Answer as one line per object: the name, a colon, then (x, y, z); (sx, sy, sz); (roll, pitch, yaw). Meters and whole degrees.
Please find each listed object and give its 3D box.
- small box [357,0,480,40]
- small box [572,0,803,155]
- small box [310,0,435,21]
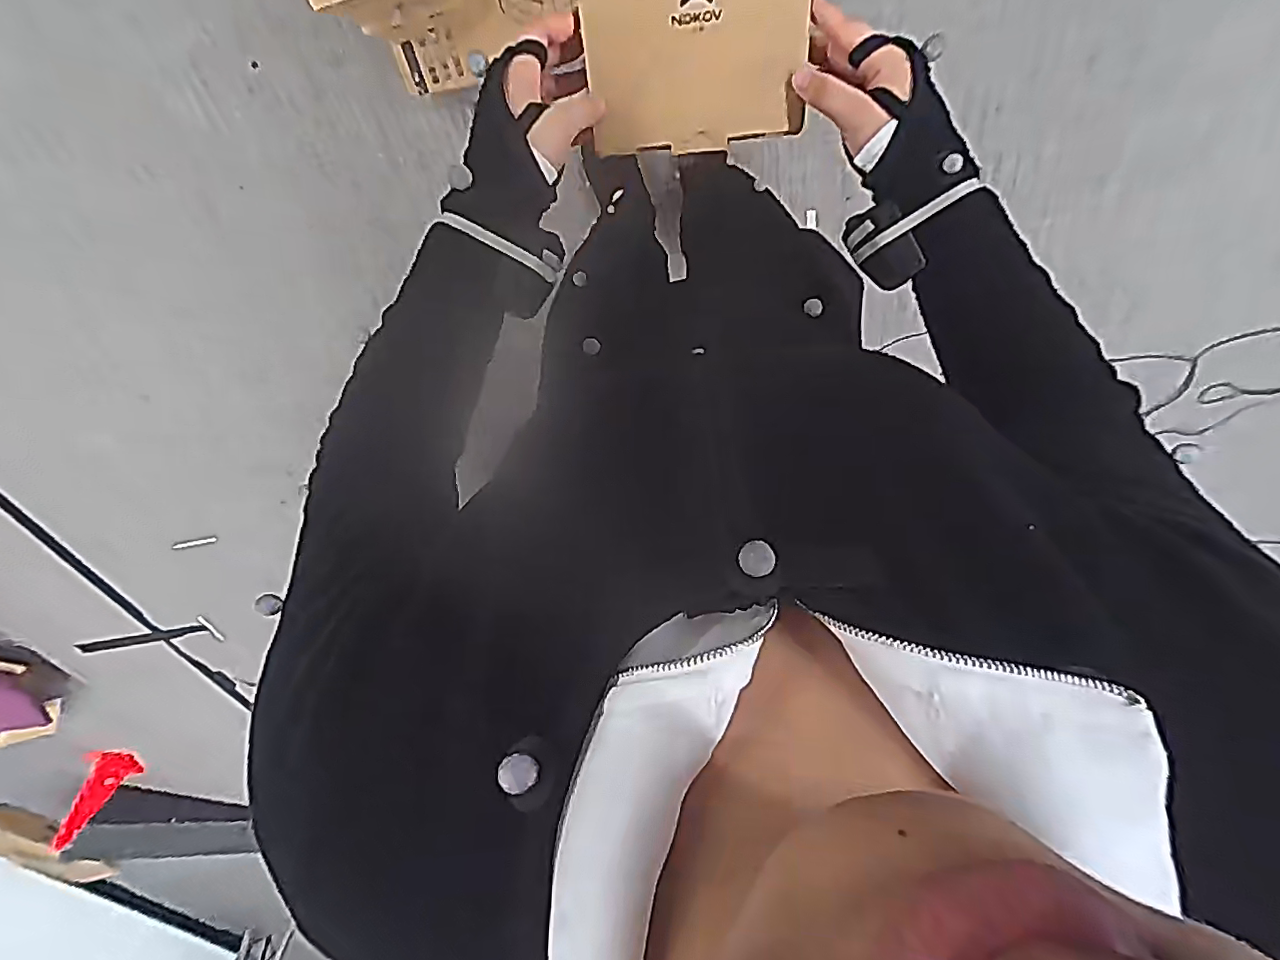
small box: (-0.368, -0.818, 0.841); (0.168, 0.176, 0.179); (-12, 126, 4)
small box: (0.032, -0.382, 0.446); (0.168, 0.176, 0.179); (-6, 123, 1)
small box: (-0.363, -0.734, 0.699); (0.168, 0.176, 0.179); (-13, 126, 5)
